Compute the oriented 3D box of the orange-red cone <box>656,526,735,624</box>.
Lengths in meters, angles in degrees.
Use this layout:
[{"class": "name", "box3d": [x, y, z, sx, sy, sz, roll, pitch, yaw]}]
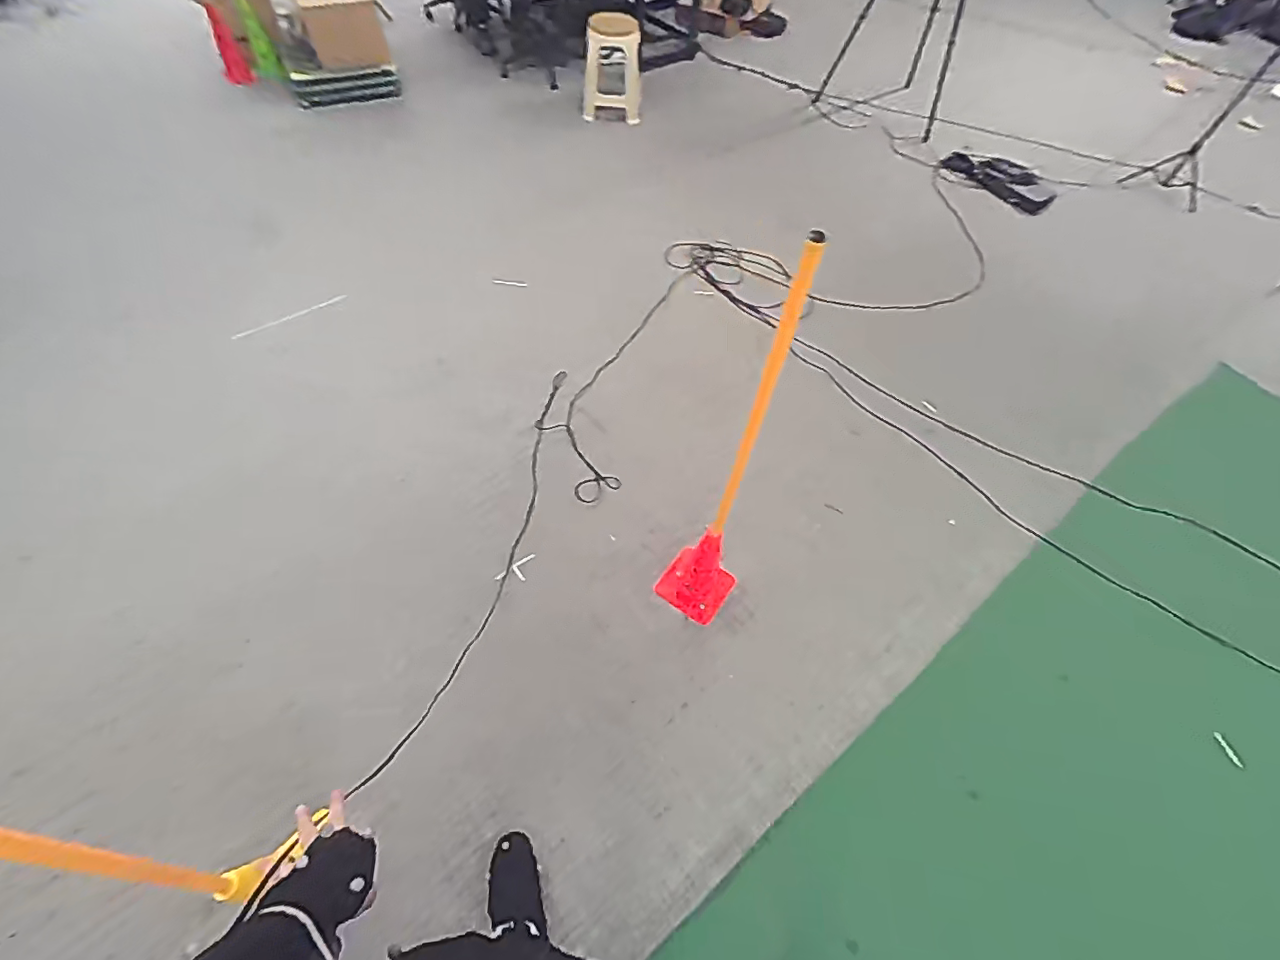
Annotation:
[{"class": "orange-red cone", "box3d": [0.189, 0.231, 1.547, 0.198, 0.360, 0.199, 34, 59, 16]}]
